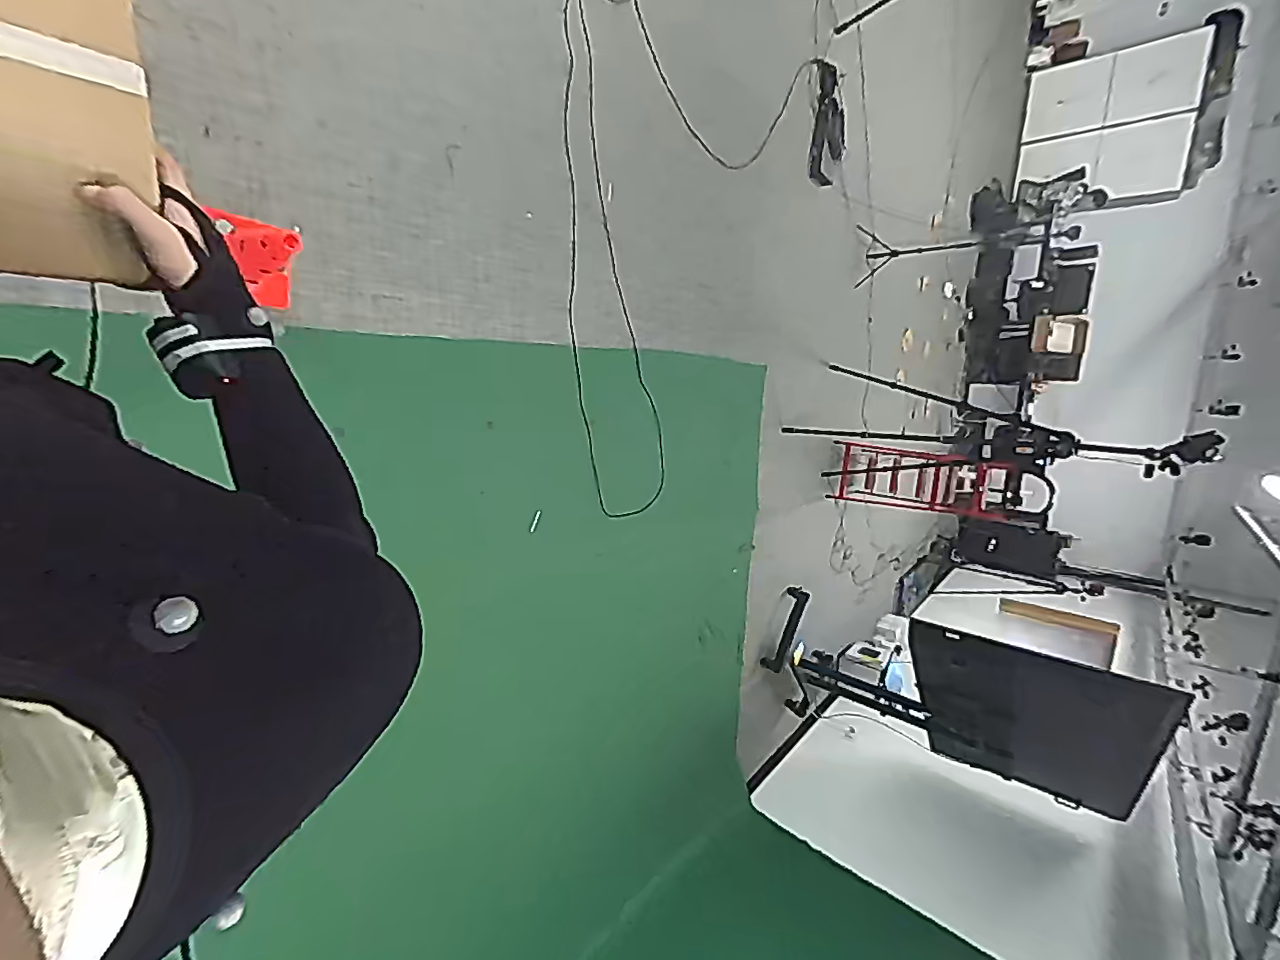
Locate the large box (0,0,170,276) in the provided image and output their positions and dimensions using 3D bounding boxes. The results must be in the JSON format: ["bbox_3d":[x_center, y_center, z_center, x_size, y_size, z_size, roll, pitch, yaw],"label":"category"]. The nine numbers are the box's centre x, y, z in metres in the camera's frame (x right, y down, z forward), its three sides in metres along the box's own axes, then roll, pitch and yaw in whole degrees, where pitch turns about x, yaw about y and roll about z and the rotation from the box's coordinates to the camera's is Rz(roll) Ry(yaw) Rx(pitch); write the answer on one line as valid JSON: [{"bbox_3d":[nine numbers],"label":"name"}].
[{"bbox_3d":[-0.644,-0.342,0.383,0.408,0.320,0.320,-13,120,-47],"label":"large box"}]

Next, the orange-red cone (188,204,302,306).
[{"bbox_3d":[-0.841,-0.515,1.212,0.199,0.360,0.198,-1,101,-51],"label":"orange-red cone"}]
